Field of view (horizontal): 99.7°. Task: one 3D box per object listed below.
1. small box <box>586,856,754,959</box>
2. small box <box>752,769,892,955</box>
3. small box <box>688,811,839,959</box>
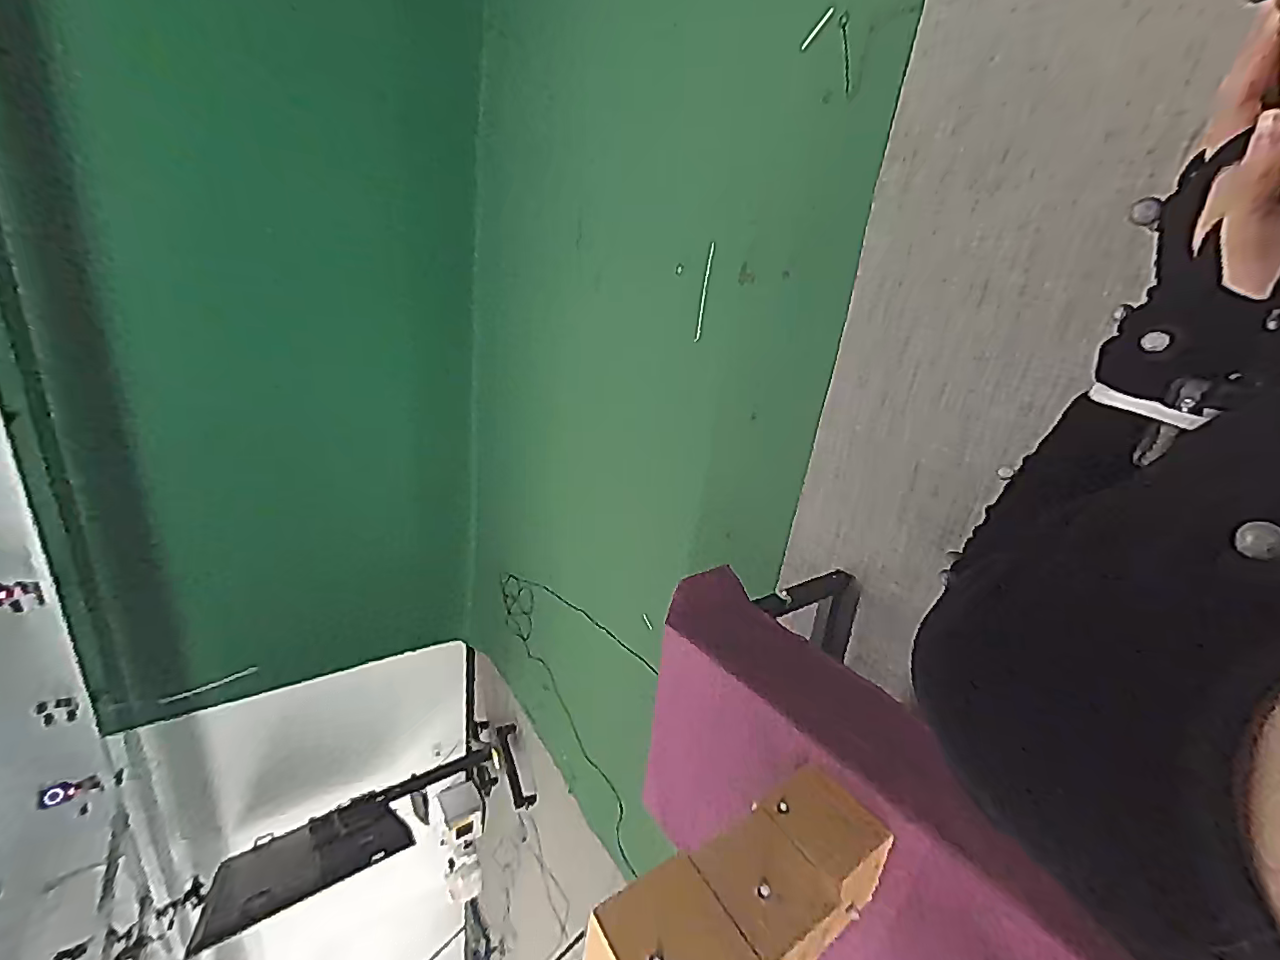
[{"bbox_3d":[0.041,0.690,0.763,0.179,0.176,0.168,36,125,47],"label":"small box"},{"bbox_3d":[0.309,0.653,0.951,0.179,0.176,0.168,30,121,48],"label":"small box"},{"bbox_3d":[0.180,0.675,0.851,0.179,0.176,0.168,34,123,46],"label":"small box"}]
